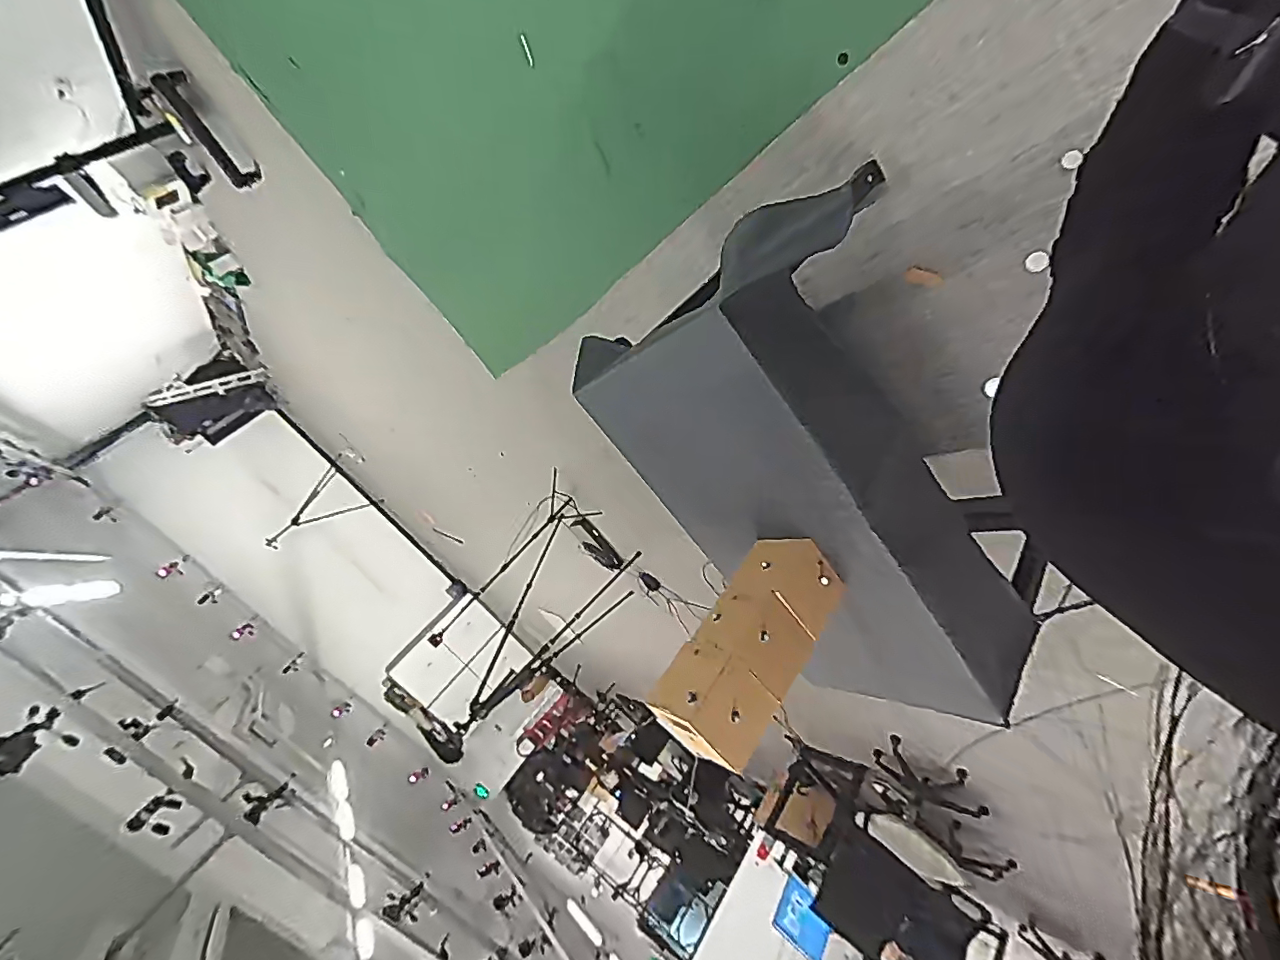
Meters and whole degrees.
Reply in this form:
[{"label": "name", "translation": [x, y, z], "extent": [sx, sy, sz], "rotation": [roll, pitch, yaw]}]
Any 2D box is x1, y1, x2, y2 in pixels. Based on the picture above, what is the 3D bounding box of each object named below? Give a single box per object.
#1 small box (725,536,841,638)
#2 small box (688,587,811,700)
[{"label": "small box", "translation": [0.345, 0.249, 1.294], "extent": [0.168, 0.176, 0.179], "rotation": [51, 150, -17]}, {"label": "small box", "translation": [0.249, 0.359, 1.222], "extent": [0.179, 0.176, 0.168], "rotation": [50, 152, -15]}]
